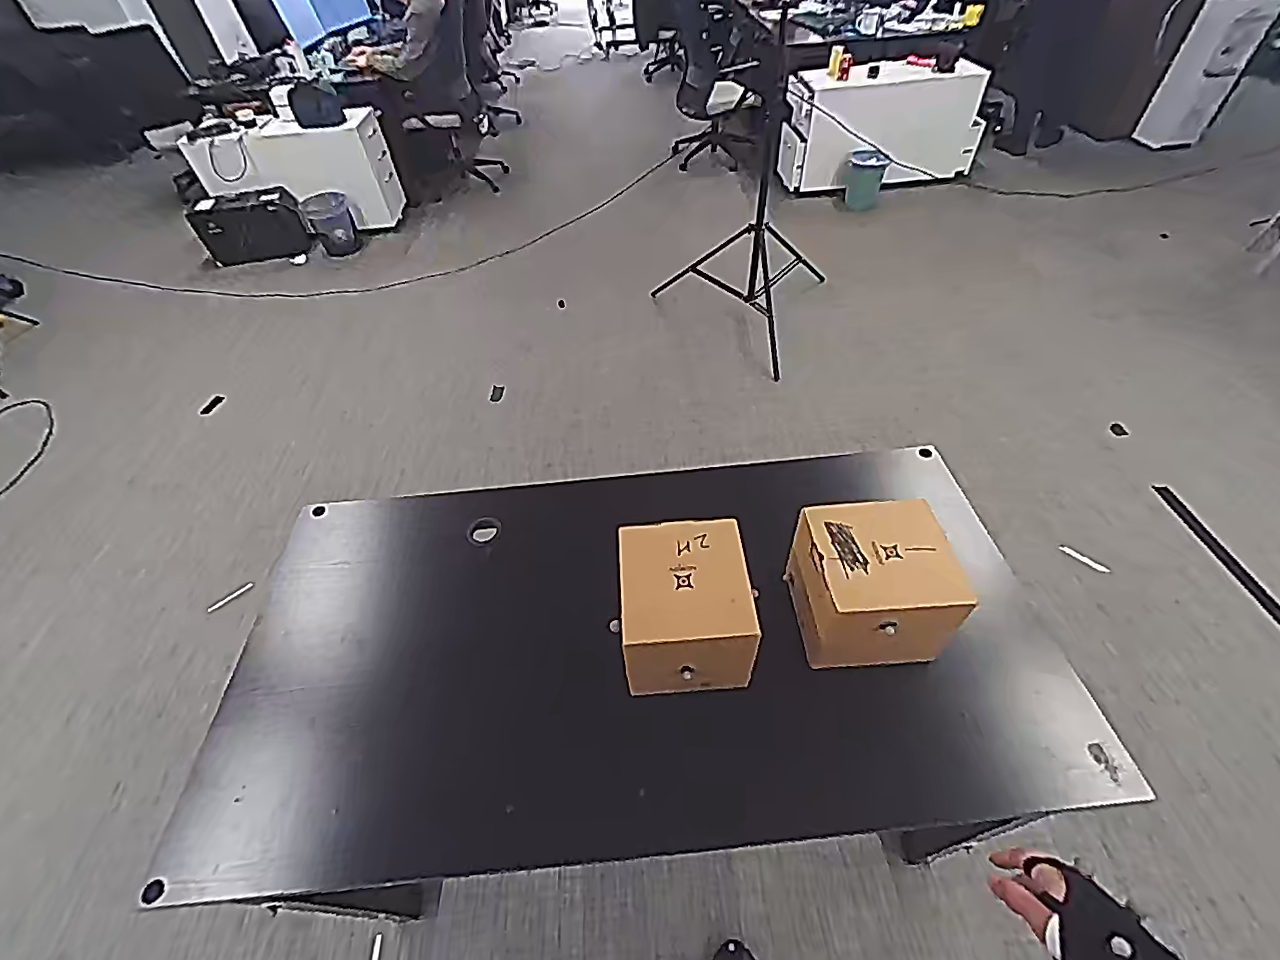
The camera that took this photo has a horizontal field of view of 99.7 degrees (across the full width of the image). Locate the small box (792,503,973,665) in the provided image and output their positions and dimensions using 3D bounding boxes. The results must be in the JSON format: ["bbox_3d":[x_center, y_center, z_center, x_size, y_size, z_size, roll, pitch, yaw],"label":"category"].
[{"bbox_3d":[0.323,0.152,0.771,0.179,0.176,0.168,-4,48,1],"label":"small box"}]

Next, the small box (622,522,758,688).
[{"bbox_3d":[0.064,0.182,0.764,0.168,0.176,0.179,-4,48,0],"label":"small box"}]
